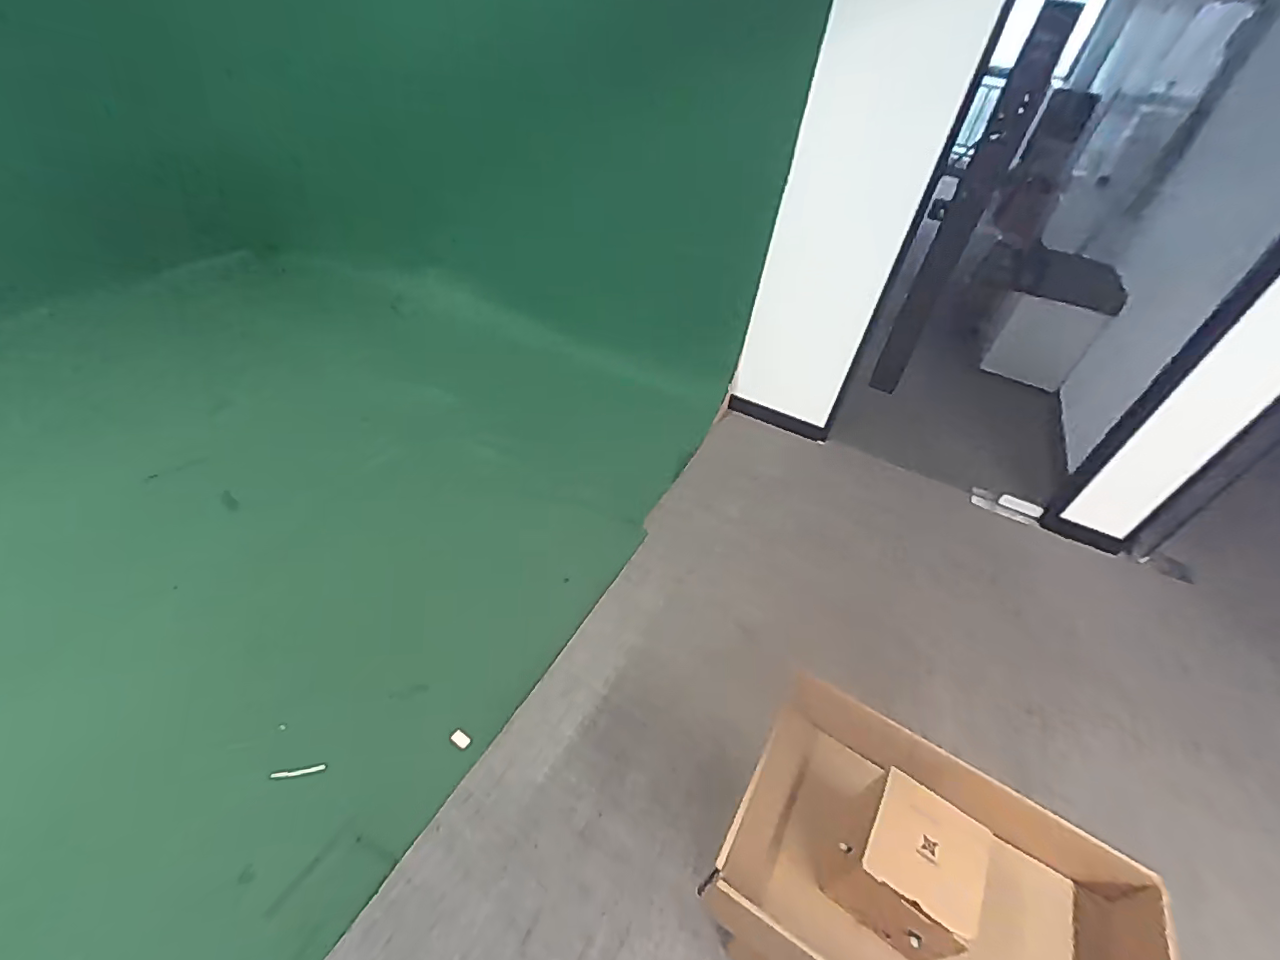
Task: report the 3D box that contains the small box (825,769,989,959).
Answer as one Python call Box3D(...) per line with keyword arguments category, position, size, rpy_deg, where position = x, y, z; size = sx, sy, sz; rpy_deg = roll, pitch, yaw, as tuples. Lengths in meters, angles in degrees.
Box3D(category="small box", position=(0.419, 0.617, 0.866), size=(0.168, 0.176, 0.179), rpy_deg=(30, 44, 18))
